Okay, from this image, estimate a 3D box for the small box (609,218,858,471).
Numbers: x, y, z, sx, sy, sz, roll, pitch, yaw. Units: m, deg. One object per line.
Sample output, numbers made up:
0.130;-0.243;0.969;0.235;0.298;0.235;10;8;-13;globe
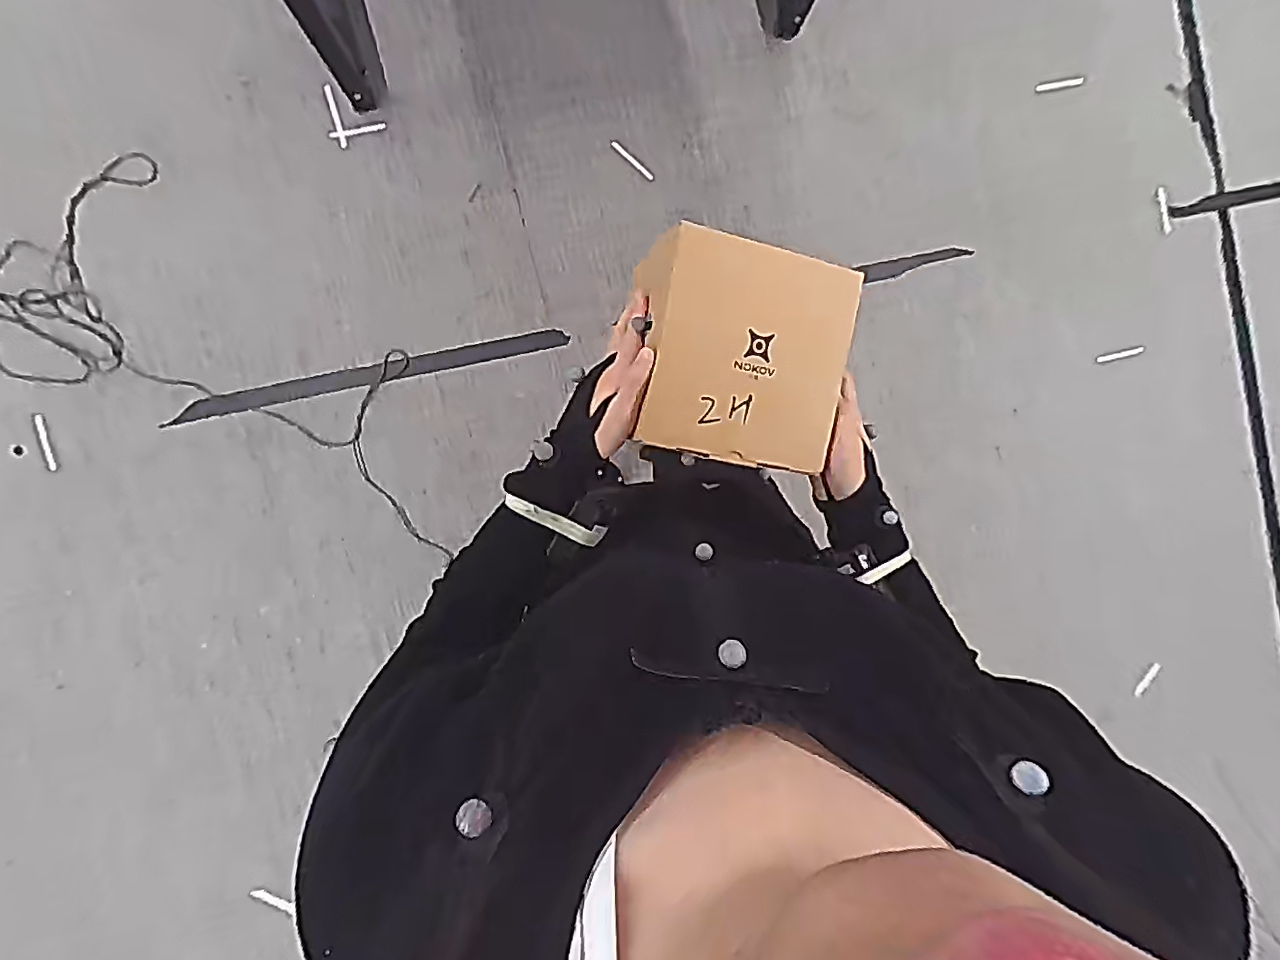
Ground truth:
0.072;-0.114;0.514;0.168;0.176;0.179;8;96;-14;small box
